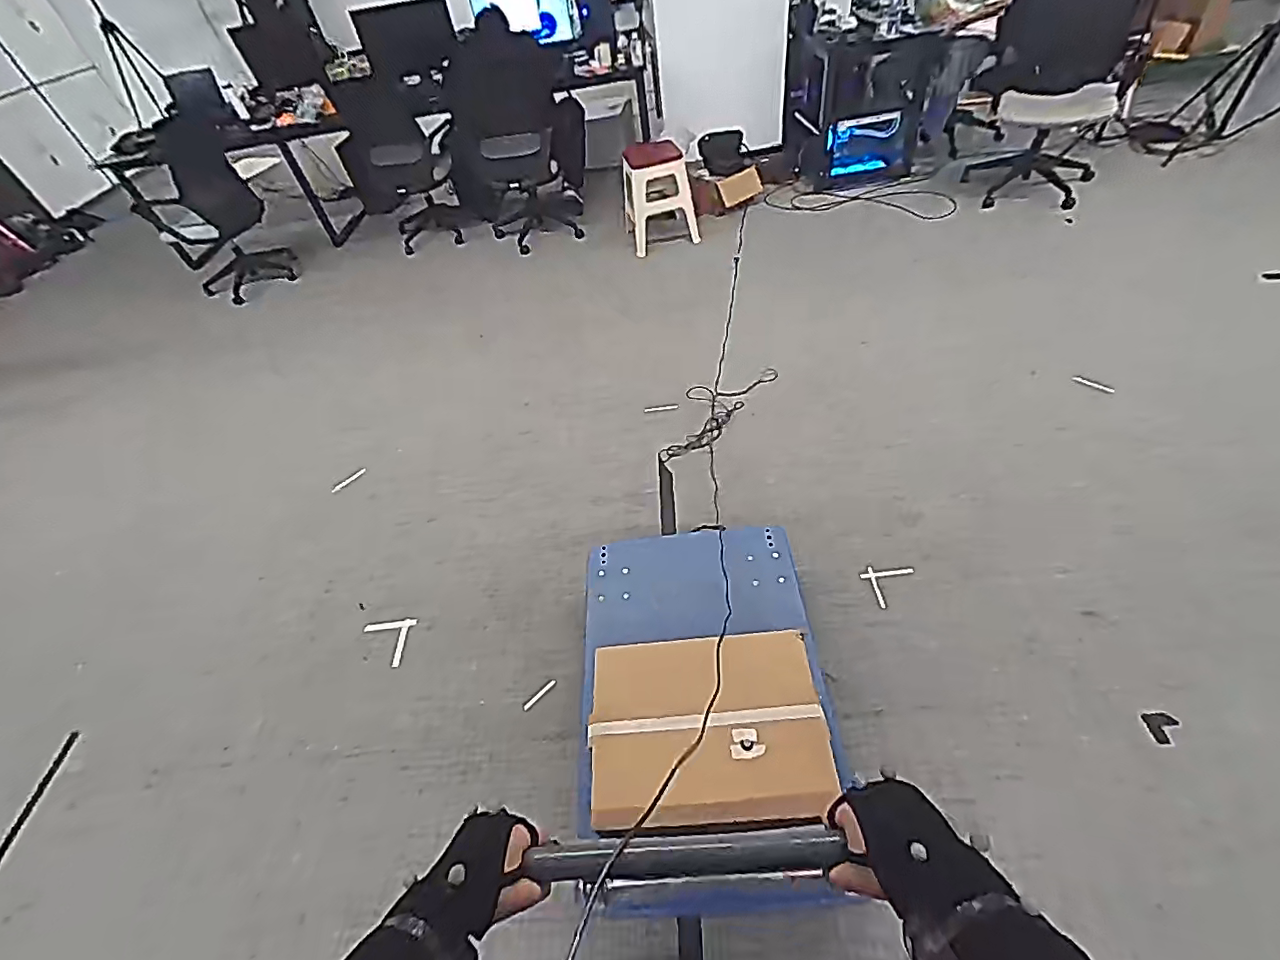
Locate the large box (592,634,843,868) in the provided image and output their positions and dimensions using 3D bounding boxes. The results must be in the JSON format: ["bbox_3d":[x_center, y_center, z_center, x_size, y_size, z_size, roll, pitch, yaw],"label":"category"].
[{"bbox_3d":[0.129,0.531,1.050,0.408,0.320,0.320,-7,48,4],"label":"large box"}]
